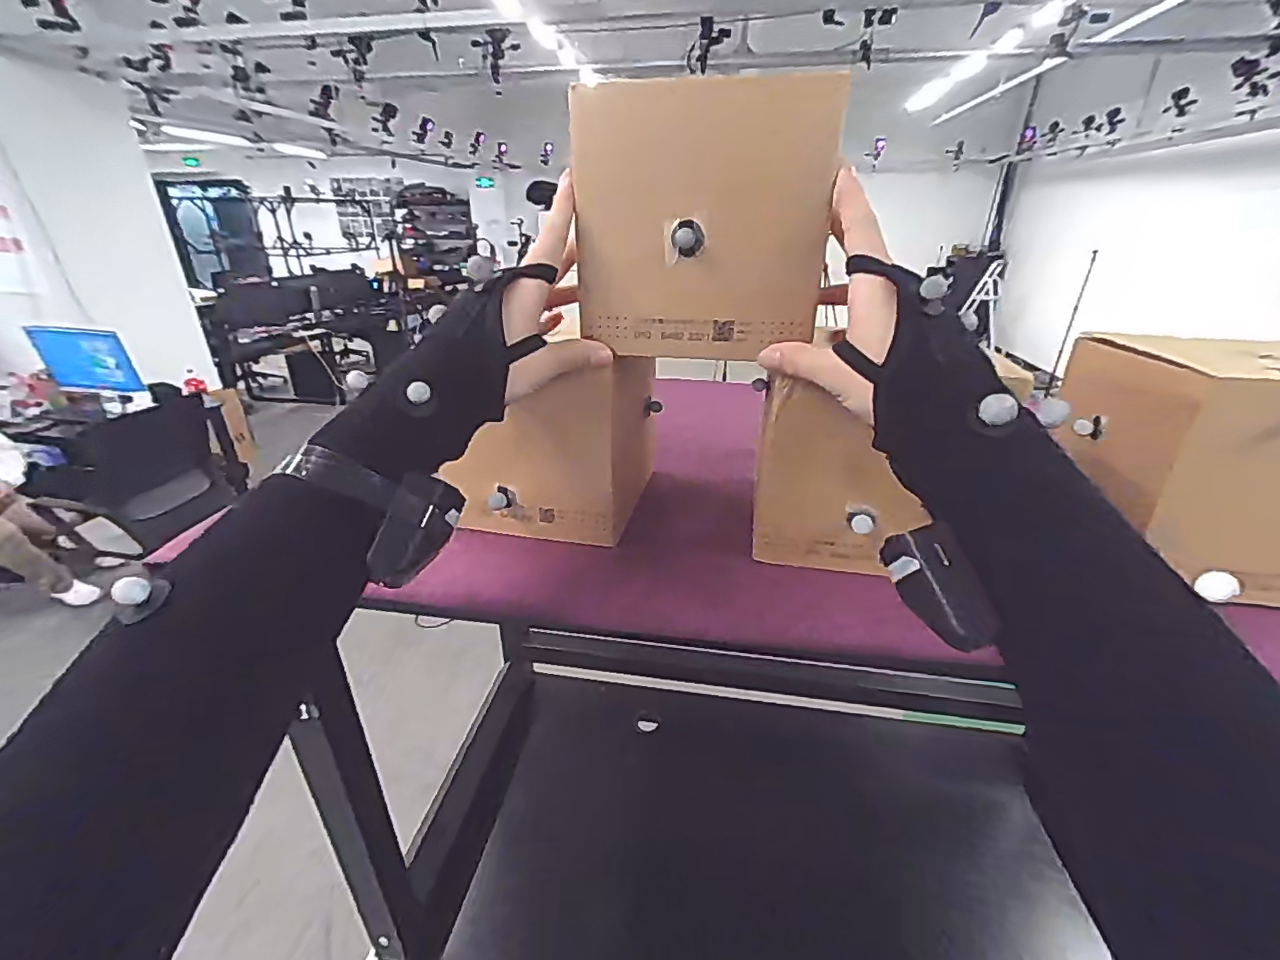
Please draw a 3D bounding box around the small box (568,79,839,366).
[{"bbox_3d":[0.052,-0.192,0.428,0.168,0.176,0.179,5,26,10],"label":"small box"}]

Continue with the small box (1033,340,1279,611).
[{"bbox_3d":[0.461,-0.013,0.438,0.168,0.176,0.179,5,23,11],"label":"small box"}]

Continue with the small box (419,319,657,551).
[{"bbox_3d":[-0.082,-0.054,0.522,0.168,0.176,0.179,5,26,12],"label":"small box"}]

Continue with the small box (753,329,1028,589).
[{"bbox_3d":[0.190,-0.030,0.474,0.168,0.176,0.179,5,27,10],"label":"small box"}]
